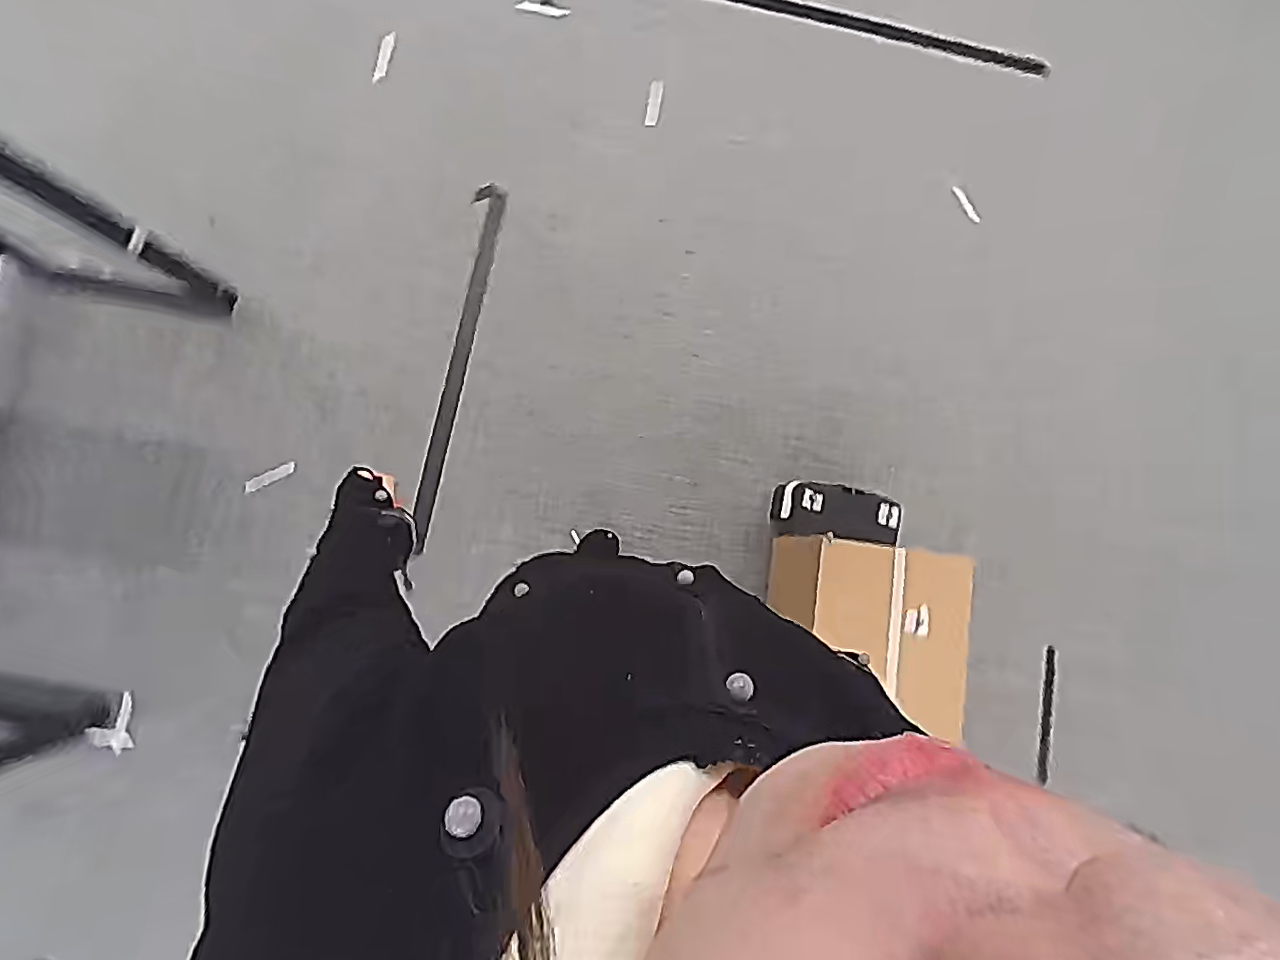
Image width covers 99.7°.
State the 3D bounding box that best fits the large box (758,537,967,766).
[{"bbox_3d":[0.461,0.345,1.181,0.320,0.320,0.408,9,83,-4],"label":"large box"}]
